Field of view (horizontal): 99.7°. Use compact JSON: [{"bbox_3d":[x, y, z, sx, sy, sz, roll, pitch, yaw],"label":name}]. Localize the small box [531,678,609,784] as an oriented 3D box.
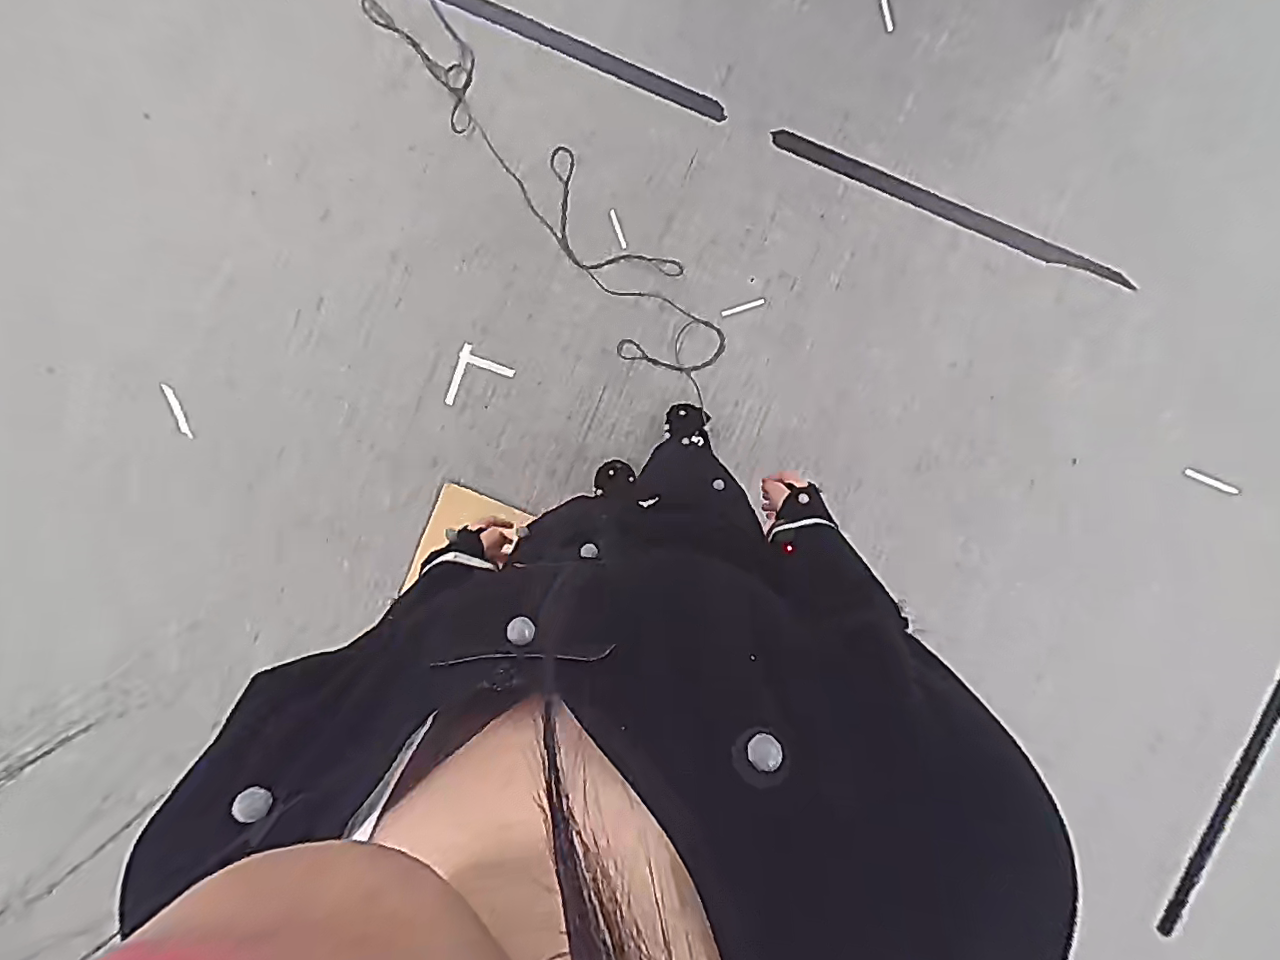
[{"bbox_3d":[-0.176,0.654,1.425,0.168,0.176,0.179,13,93,-1],"label":"small box"}]
